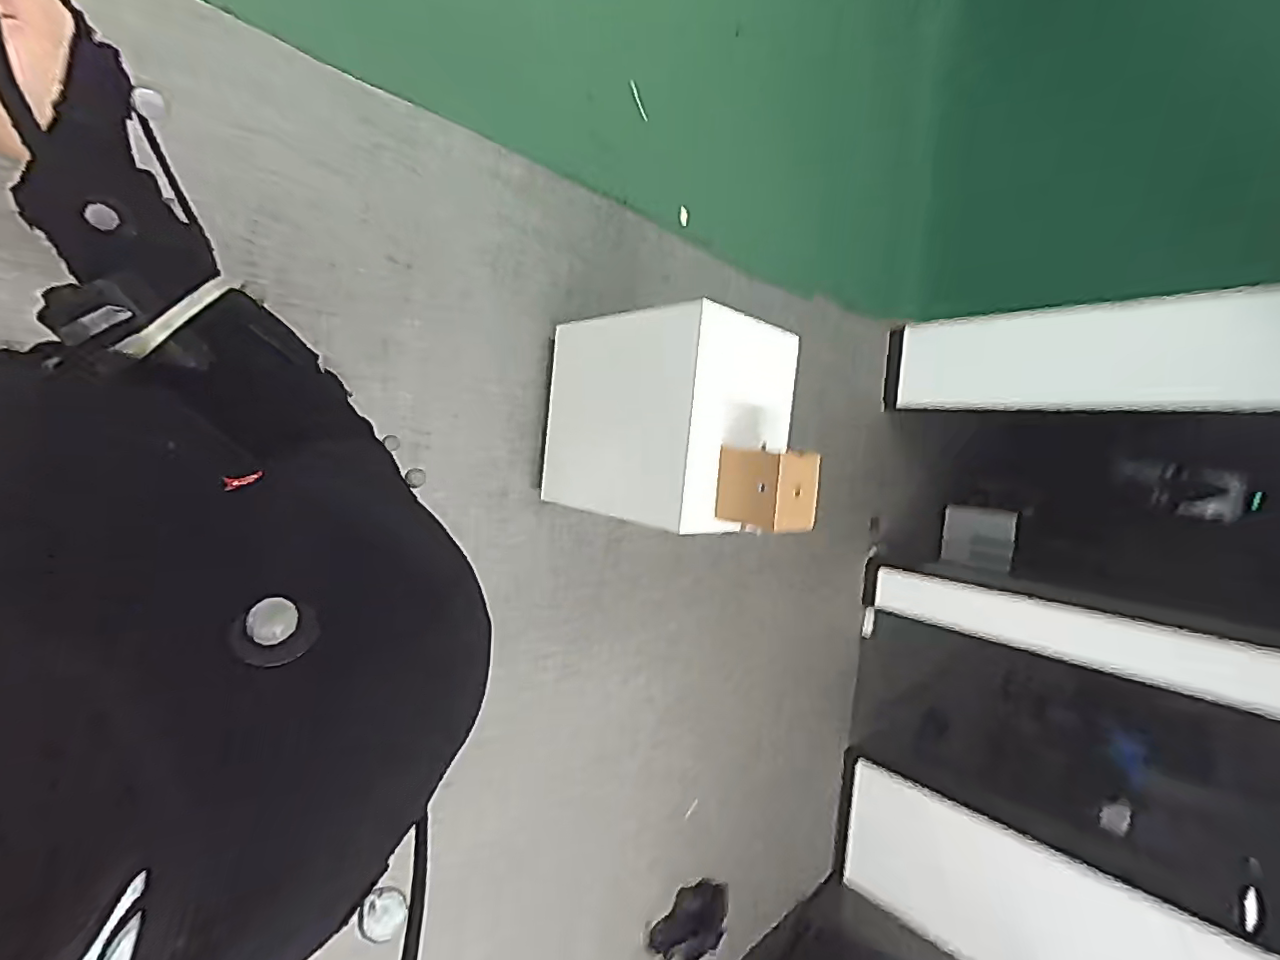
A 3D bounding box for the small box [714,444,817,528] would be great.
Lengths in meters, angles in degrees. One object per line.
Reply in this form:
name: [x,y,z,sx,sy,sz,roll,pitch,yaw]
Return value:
small box: [0.289,0.009,1.256,0.168,0.176,0.179,0,96,-43]
